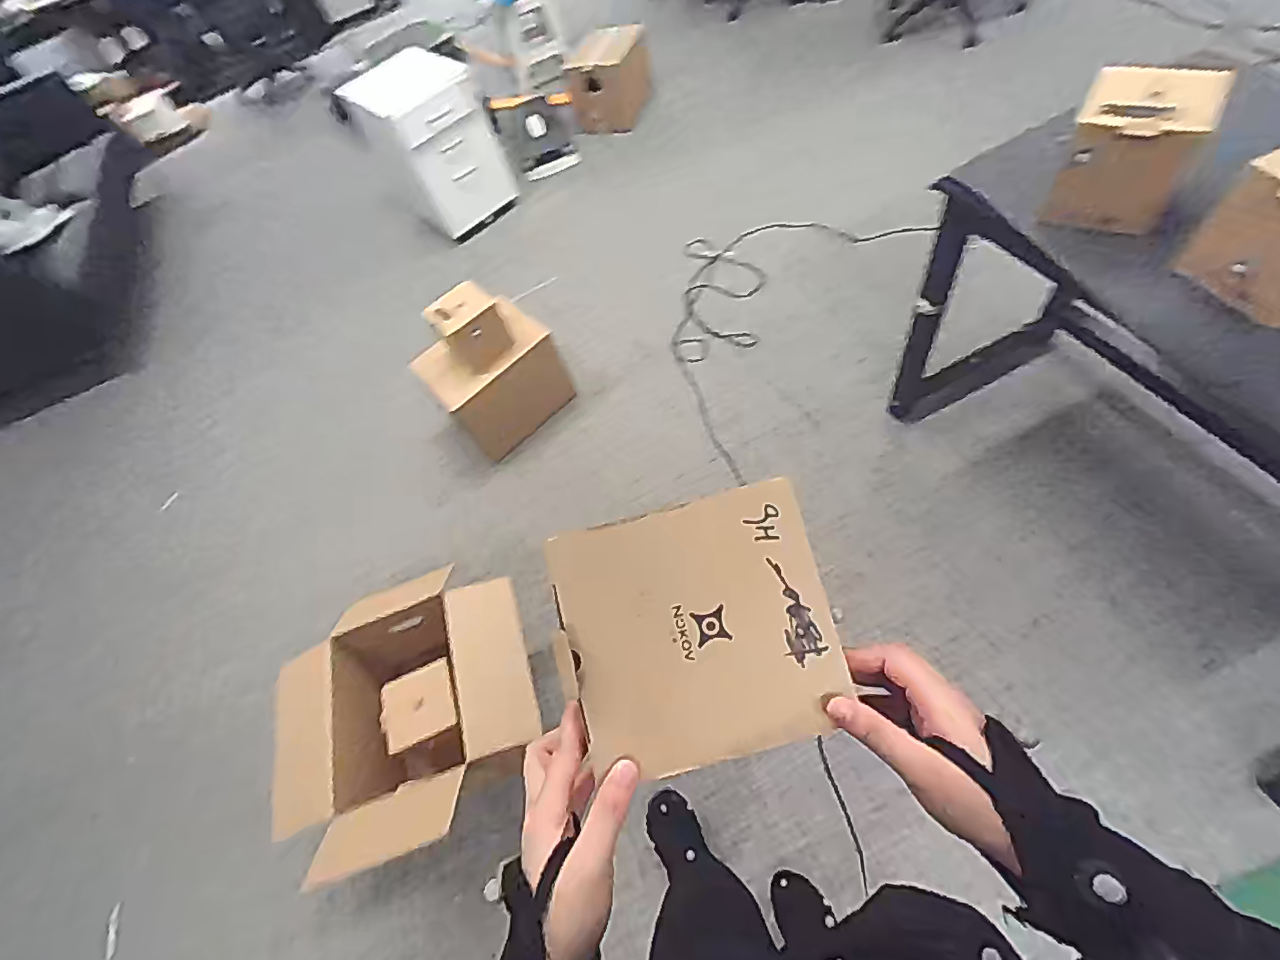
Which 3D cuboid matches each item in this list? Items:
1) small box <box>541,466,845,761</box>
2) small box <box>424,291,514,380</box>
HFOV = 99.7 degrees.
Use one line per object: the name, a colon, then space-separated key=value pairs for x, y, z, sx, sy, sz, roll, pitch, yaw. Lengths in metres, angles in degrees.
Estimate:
small box: x=0.037 y=0.102 z=0.443 sx=0.179 sy=0.176 sz=0.168 roll=-14 pitch=80 yaw=1
small box: x=-0.531 y=-0.449 z=1.700 sx=0.179 sy=0.176 sz=0.168 roll=-43 pitch=60 yaw=-13
